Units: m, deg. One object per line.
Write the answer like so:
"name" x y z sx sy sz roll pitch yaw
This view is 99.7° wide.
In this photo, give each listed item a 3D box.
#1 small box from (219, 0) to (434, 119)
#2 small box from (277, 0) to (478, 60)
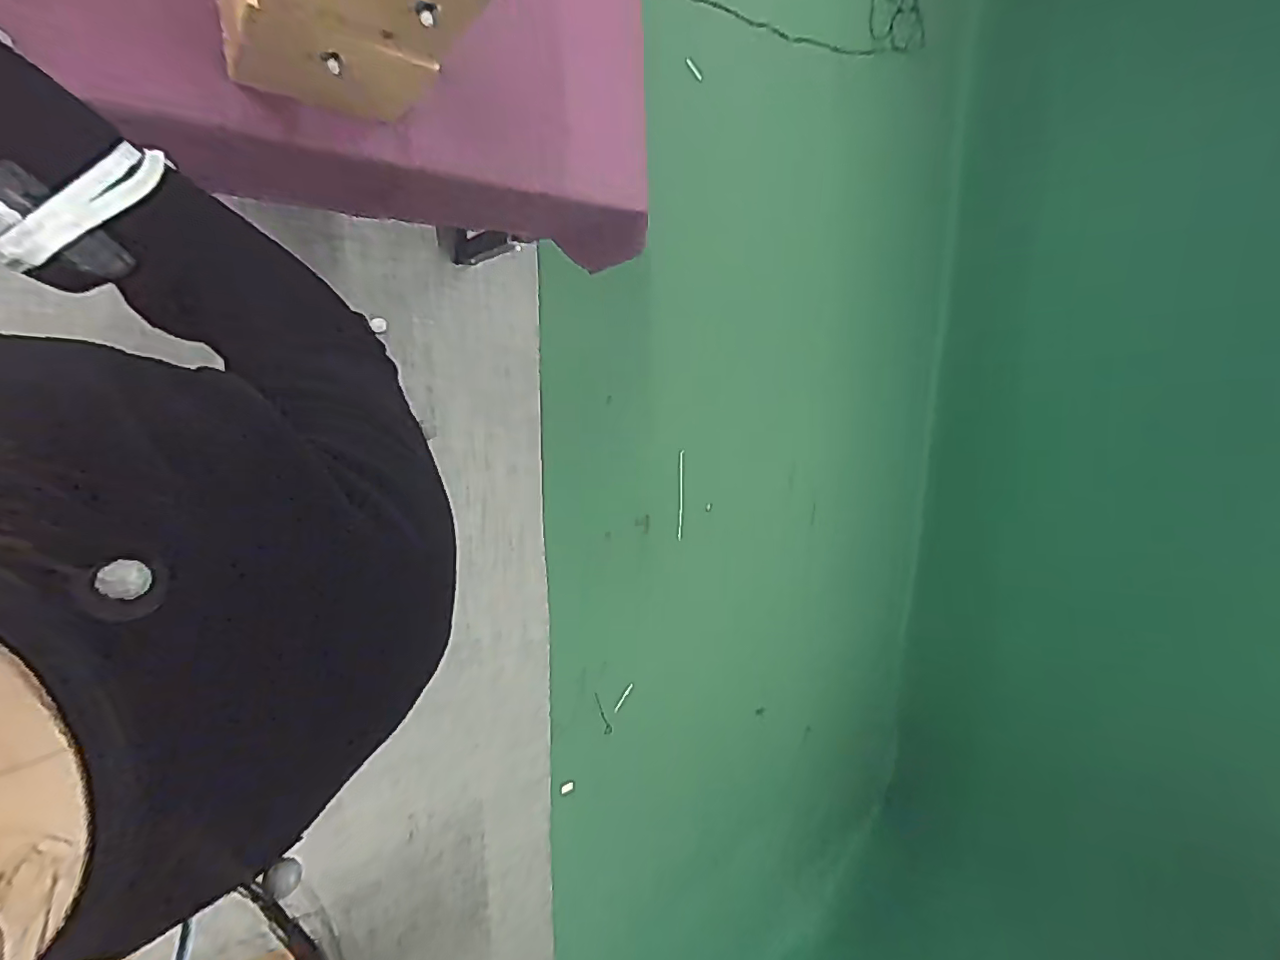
"small box" -0.343 -0.524 0.581 0.179 0.176 0.168 -10 105 -41
"small box" -0.234 -0.509 0.461 0.168 0.176 0.179 -14 106 -40
